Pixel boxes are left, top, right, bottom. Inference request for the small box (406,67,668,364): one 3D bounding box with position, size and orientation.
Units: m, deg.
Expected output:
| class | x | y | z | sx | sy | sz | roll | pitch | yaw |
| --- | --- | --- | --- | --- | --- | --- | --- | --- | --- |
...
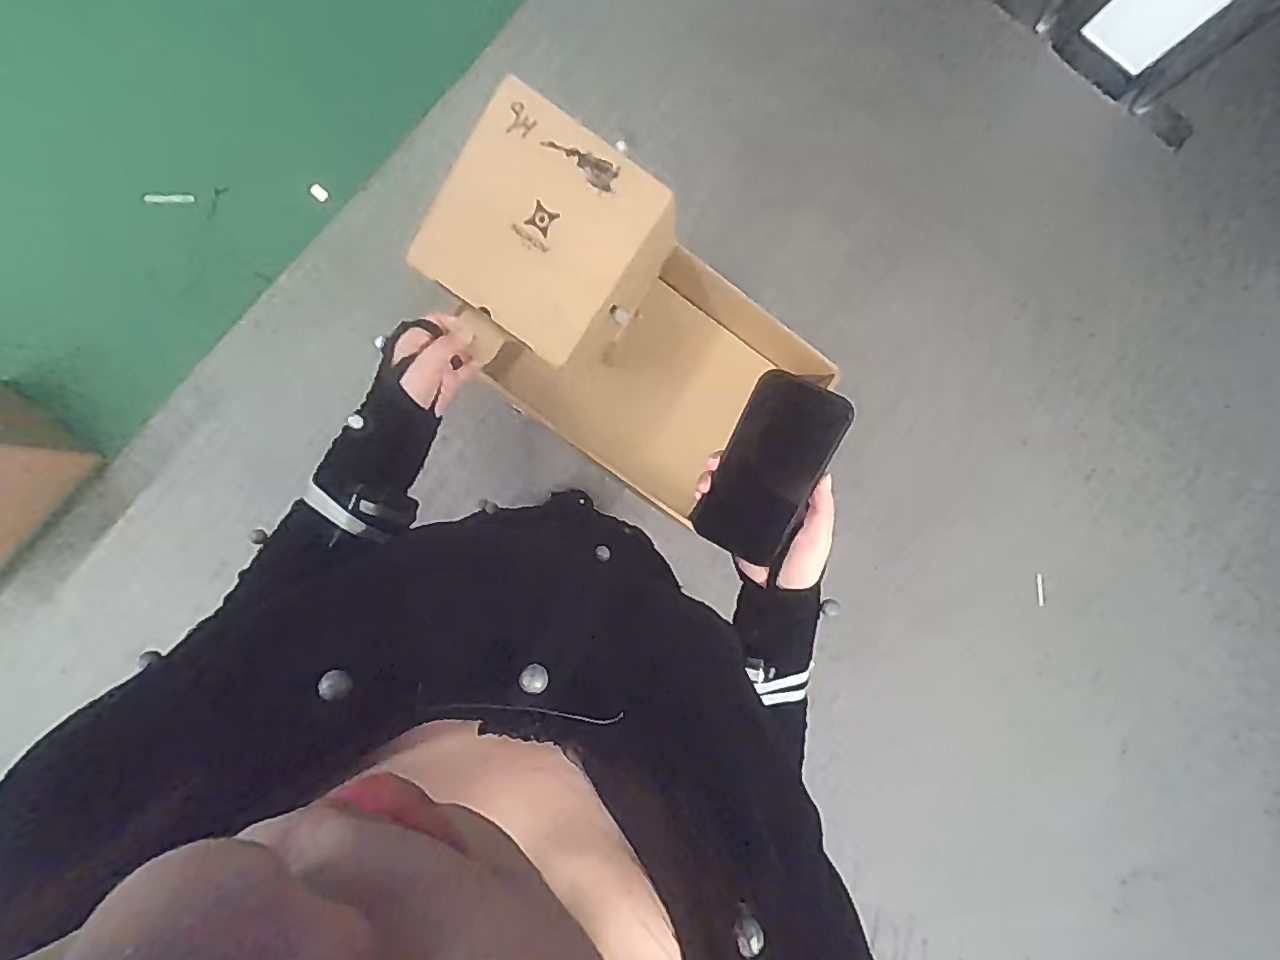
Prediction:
| class | x | y | z | sx | sy | sz | roll | pitch | yaw |
| --- | --- | --- | --- | --- | --- | --- | --- | --- | --- |
| small box | -0.081 | -0.228 | 0.526 | 0.168 | 0.176 | 0.179 | 35 | 101 | -3 |
